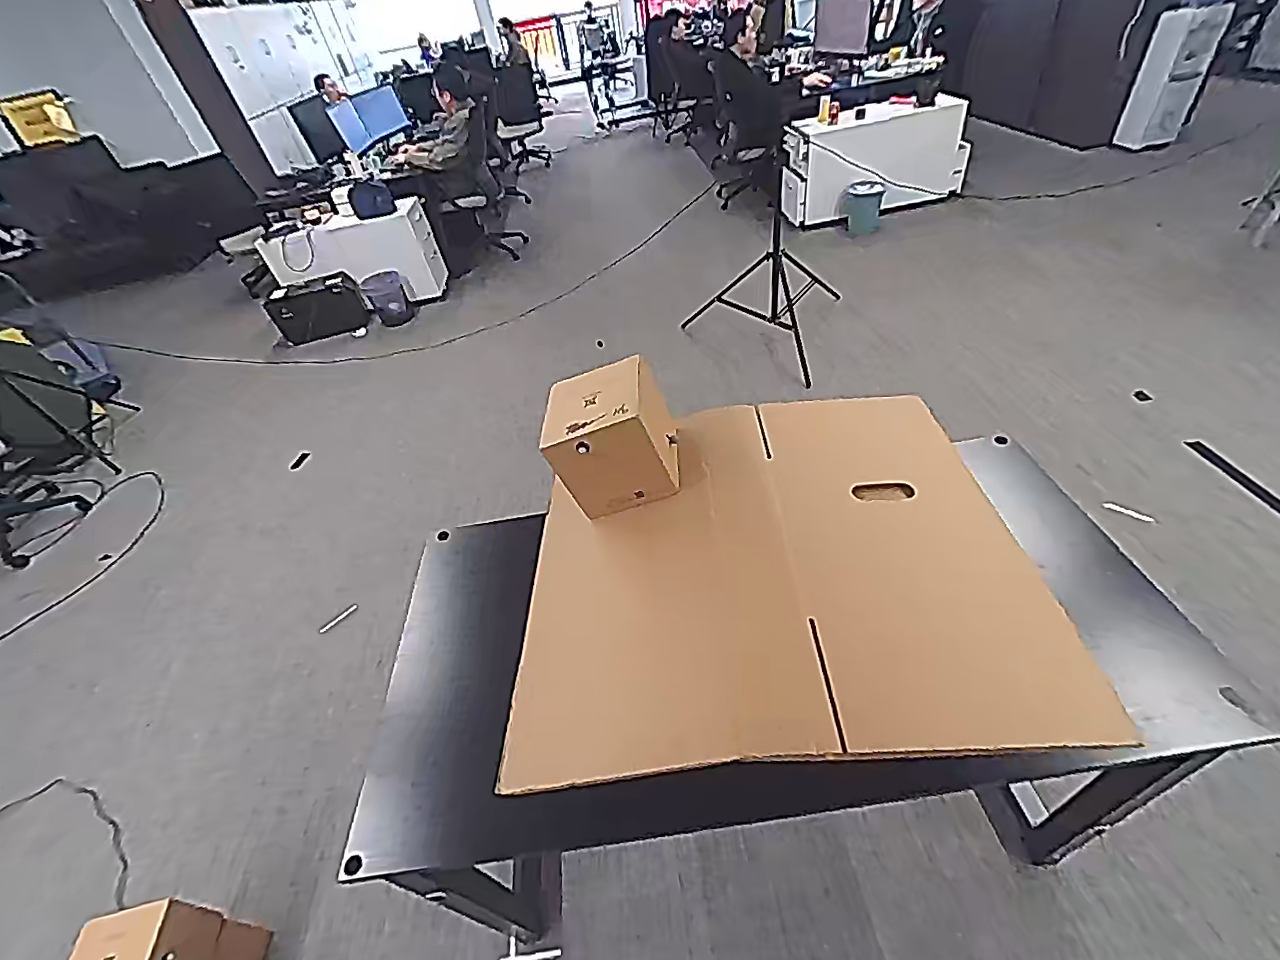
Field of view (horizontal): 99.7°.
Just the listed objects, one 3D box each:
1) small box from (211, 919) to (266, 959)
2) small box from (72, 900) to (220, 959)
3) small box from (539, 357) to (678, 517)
[{"bbox_3d":[-0.953,1.087,1.166,0.168,0.176,0.179,-13,43,-1],"label":"small box"},{"bbox_3d":[-0.979,0.966,1.061,0.168,0.176,0.179,-14,41,-4],"label":"small box"},{"bbox_3d":[-0.043,-0.068,0.896,0.168,0.176,0.179,-18,39,16],"label":"small box"}]
